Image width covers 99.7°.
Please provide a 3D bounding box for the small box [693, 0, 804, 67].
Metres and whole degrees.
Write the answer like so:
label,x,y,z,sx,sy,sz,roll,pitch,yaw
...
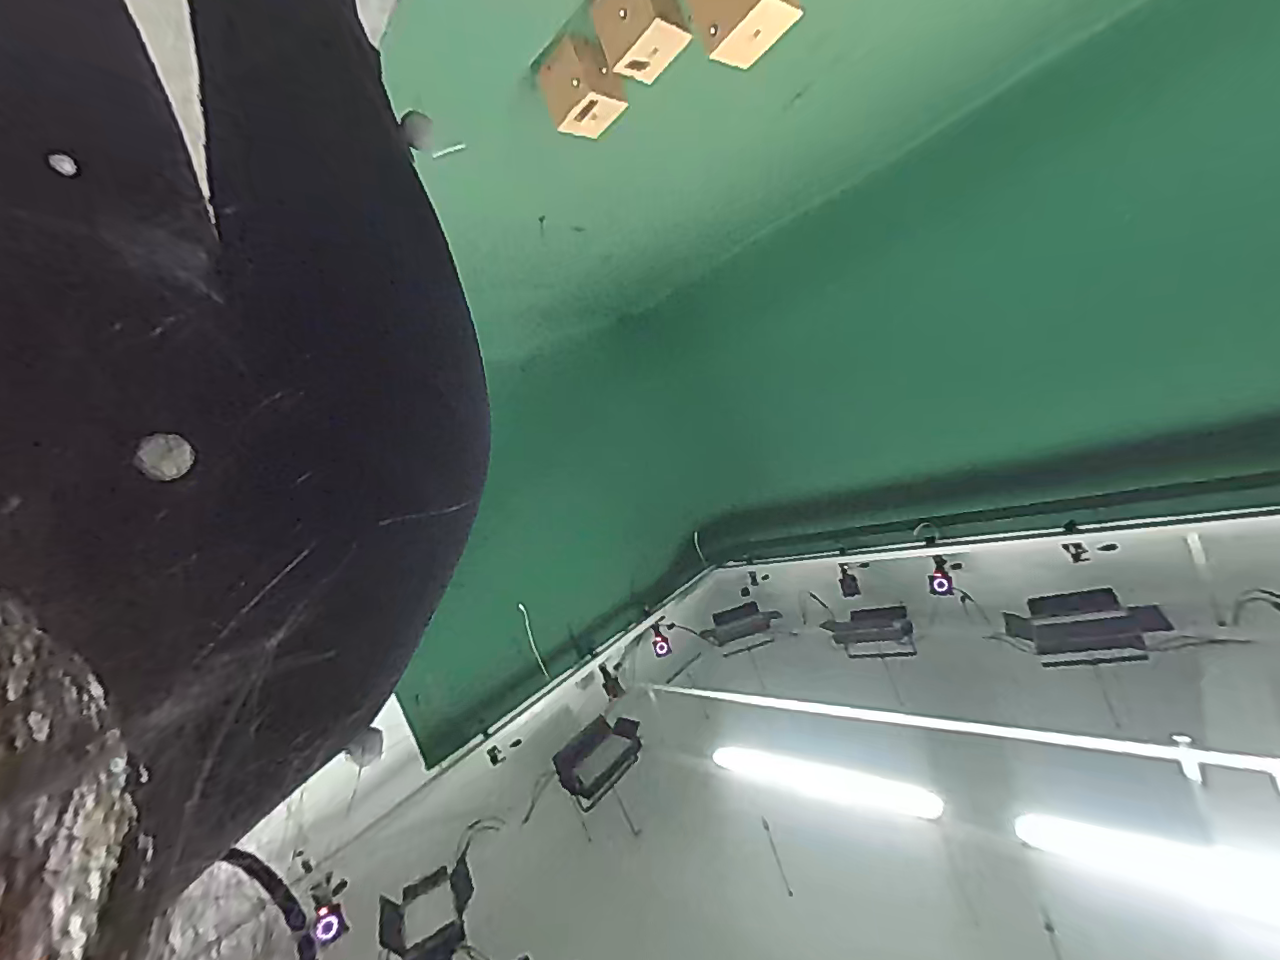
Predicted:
label,x,y,z,sx,sy,sz,roll,pitch,yaw
small box,0.240,-1.106,1.240,0.168,0.176,0.179,-25,-173,-41
